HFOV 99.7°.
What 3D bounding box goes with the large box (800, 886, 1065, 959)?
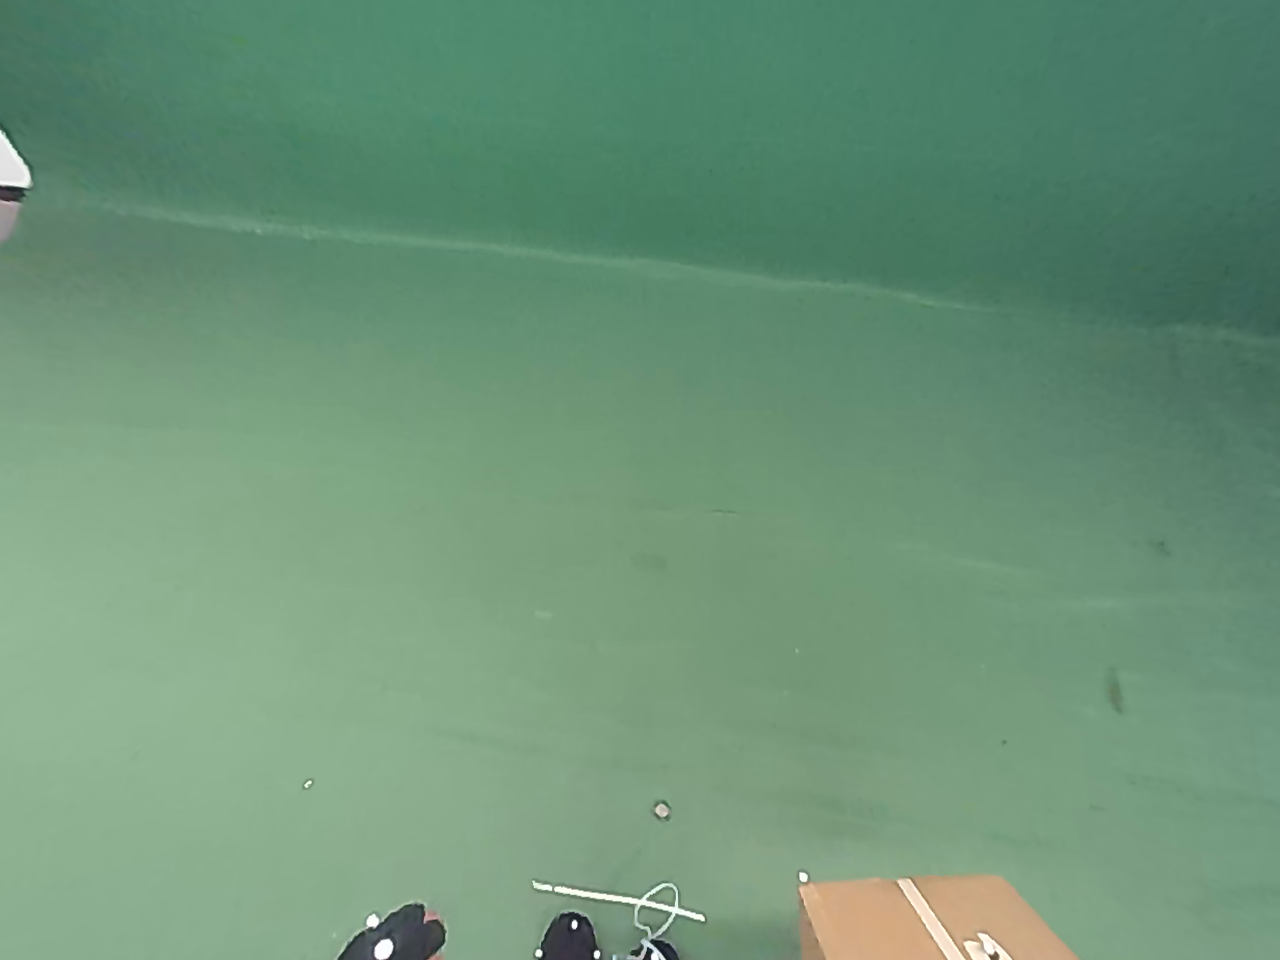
[{"bbox_3d":[0.402,0.770,0.616,0.320,0.408,0.320,-1,90,-1],"label":"large box"}]
